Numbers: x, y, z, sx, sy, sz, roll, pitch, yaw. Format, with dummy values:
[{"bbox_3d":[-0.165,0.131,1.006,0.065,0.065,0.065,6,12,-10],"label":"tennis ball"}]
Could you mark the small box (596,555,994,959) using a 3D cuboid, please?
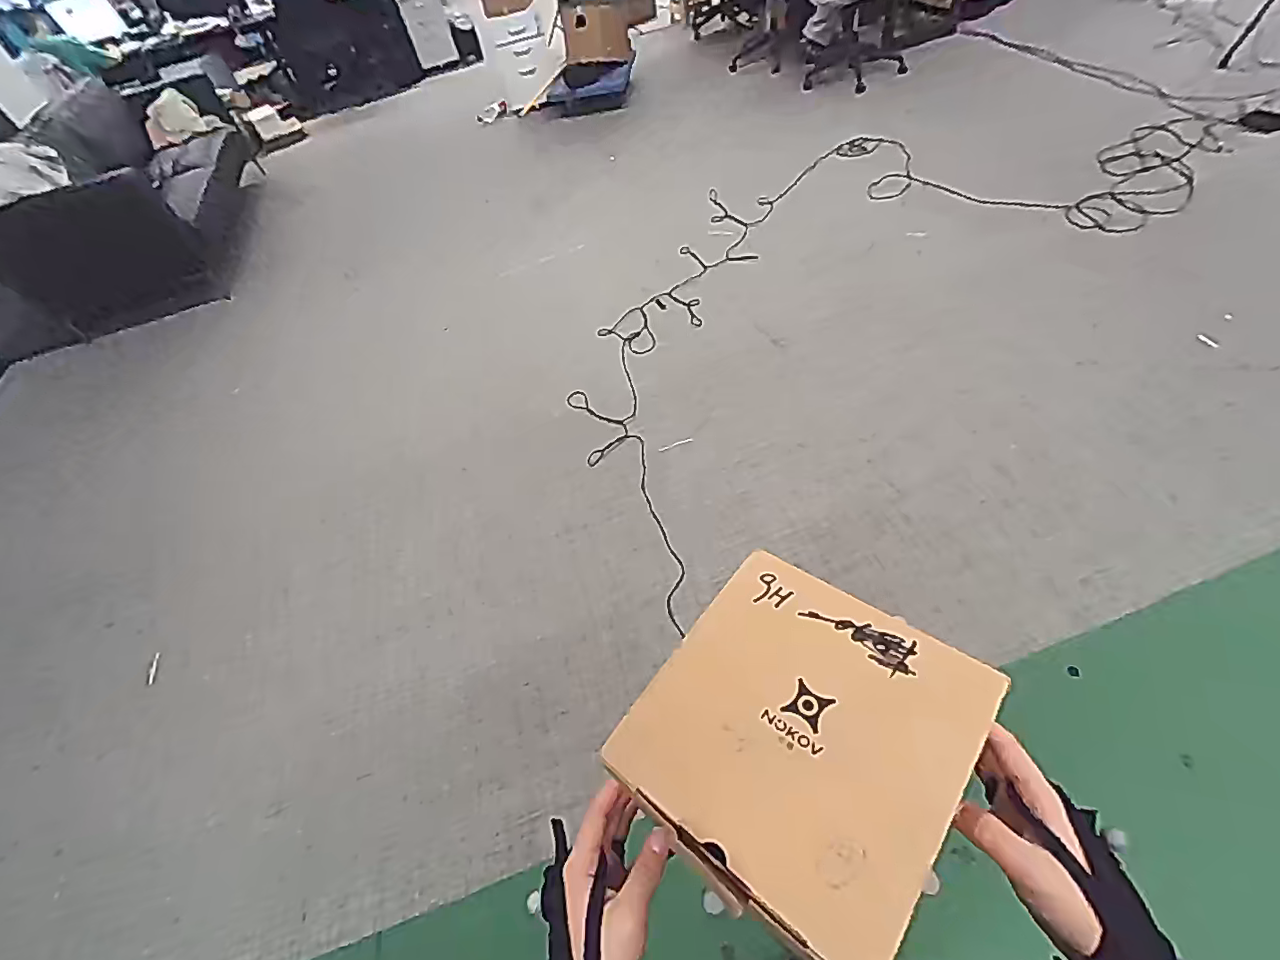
[{"bbox_3d":[0.102,0.192,0.369,0.168,0.176,0.179,27,60,33],"label":"small box"}]
